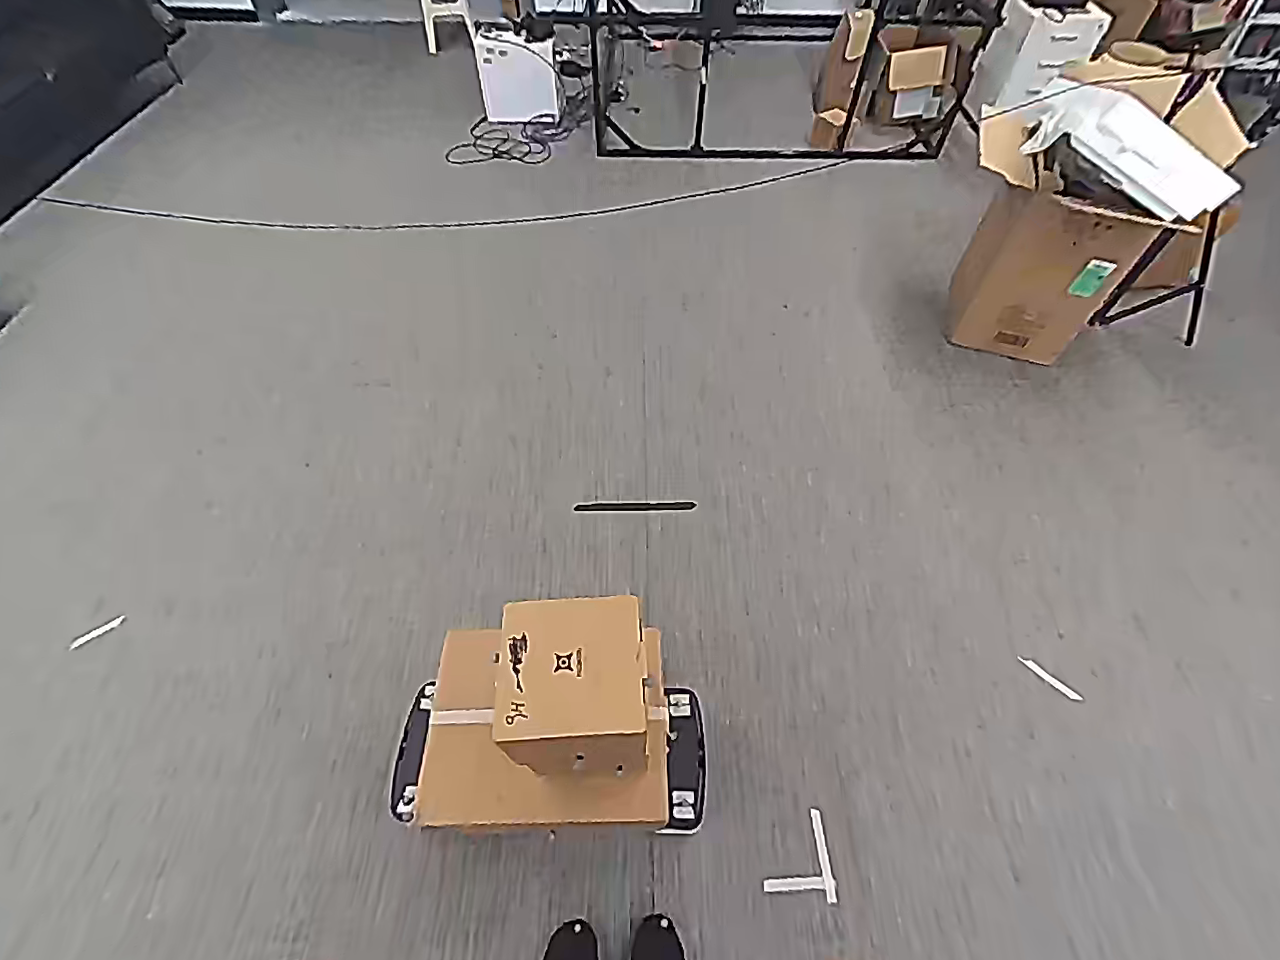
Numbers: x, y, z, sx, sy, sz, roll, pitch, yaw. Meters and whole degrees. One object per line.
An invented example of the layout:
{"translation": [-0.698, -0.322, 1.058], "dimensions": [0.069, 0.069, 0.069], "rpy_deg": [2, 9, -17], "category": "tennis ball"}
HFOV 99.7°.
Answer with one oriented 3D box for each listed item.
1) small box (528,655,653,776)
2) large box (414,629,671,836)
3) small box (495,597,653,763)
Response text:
{"translation": [-0.073, 0.357, 0.842], "dimensions": [0.179, 0.176, 0.168], "rpy_deg": [-2, 54, -1], "category": "small box"}
{"translation": [-0.153, 0.495, 1.043], "dimensions": [0.408, 0.320, 0.320], "rpy_deg": [-1, 53, 0], "category": "large box"}
{"translation": [-0.078, 0.264, 0.707], "dimensions": [0.179, 0.176, 0.168], "rpy_deg": [-1, 53, -2], "category": "small box"}
